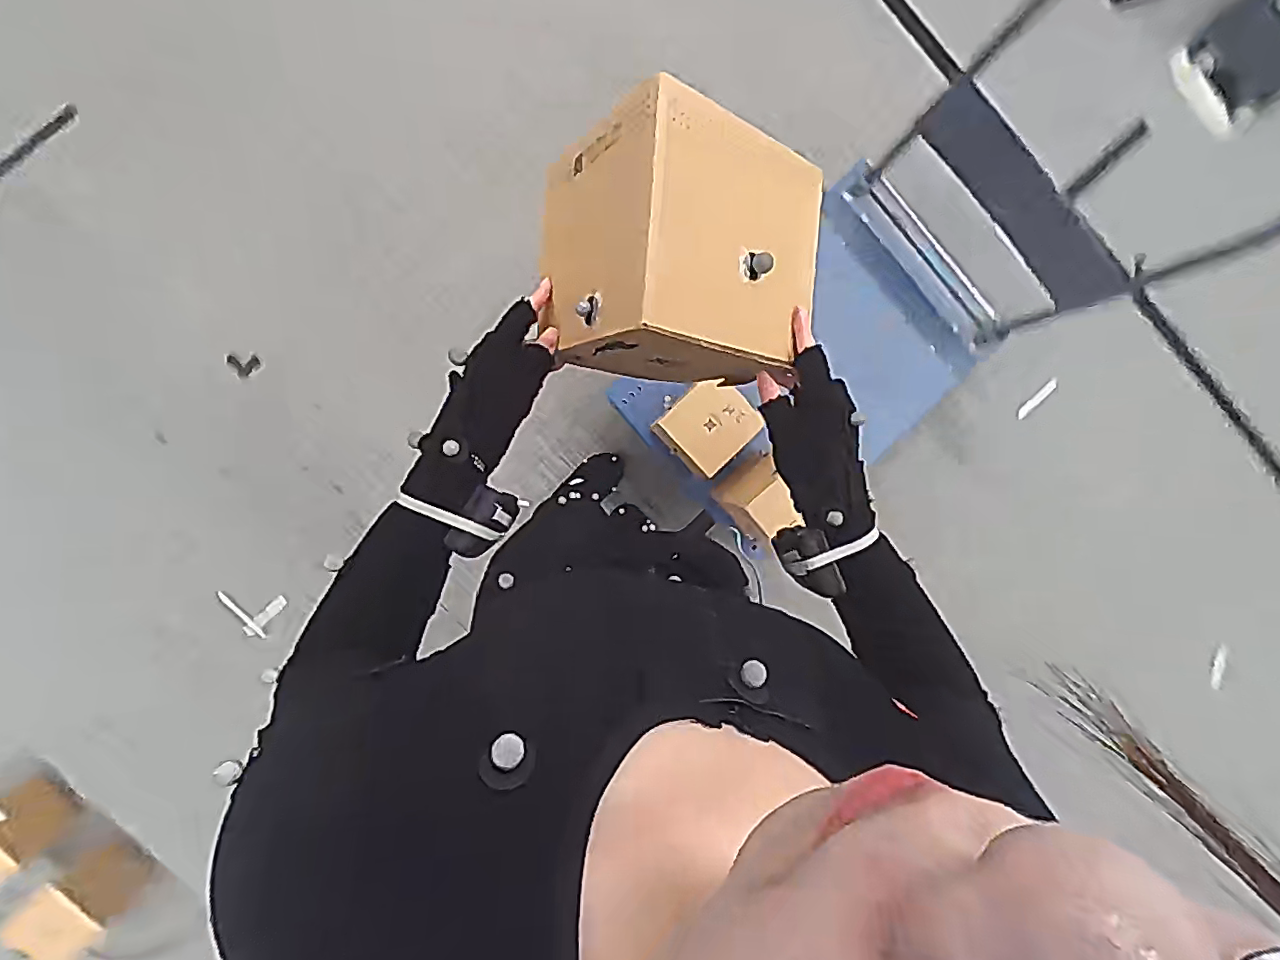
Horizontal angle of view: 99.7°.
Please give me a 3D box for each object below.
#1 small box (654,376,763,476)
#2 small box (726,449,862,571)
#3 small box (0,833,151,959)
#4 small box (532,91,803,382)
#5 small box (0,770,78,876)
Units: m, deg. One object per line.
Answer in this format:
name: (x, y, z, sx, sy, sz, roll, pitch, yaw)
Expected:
small box: (0.145, -0.126, 1.231, 0.179, 0.176, 0.168, -43, 96, -2)
small box: (0.298, 0.051, 1.087, 0.179, 0.176, 0.168, -40, 95, -1)
small box: (-1.407, 1.049, 1.356, 0.179, 0.176, 0.168, -42, 96, -2)
small box: (0.023, -0.183, 0.464, 0.179, 0.168, 0.176, 1, 92, -36)
small box: (-1.578, 0.867, 1.336, 0.168, 0.176, 0.179, -40, 94, -2)
